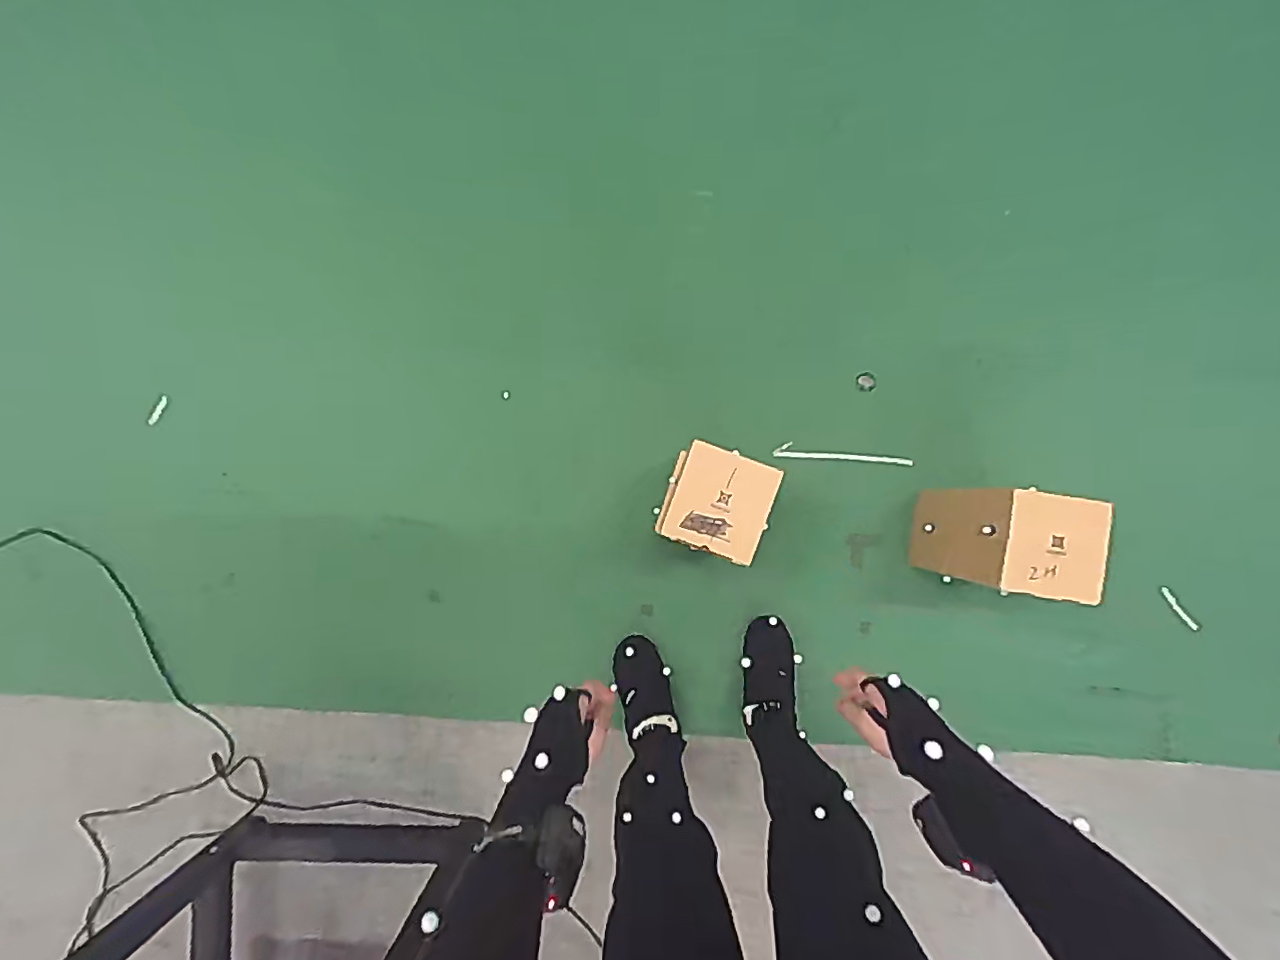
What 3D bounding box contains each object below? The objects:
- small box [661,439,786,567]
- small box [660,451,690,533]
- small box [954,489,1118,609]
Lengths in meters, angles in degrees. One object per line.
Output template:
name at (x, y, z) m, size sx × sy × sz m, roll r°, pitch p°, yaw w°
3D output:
small box at (0.146, 0.040, 0.993) m, size 0.168 × 0.176 × 0.179 m, roll 21°, pitch 90°, yaw 2°
small box at (0.142, 0.048, 1.157) m, size 0.168 × 0.176 × 0.179 m, roll 18°, pitch 91°, yaw 2°
small box at (0.696, 0.115, 0.970) m, size 0.168 × 0.176 × 0.179 m, roll 10°, pitch 90°, yaw 2°
